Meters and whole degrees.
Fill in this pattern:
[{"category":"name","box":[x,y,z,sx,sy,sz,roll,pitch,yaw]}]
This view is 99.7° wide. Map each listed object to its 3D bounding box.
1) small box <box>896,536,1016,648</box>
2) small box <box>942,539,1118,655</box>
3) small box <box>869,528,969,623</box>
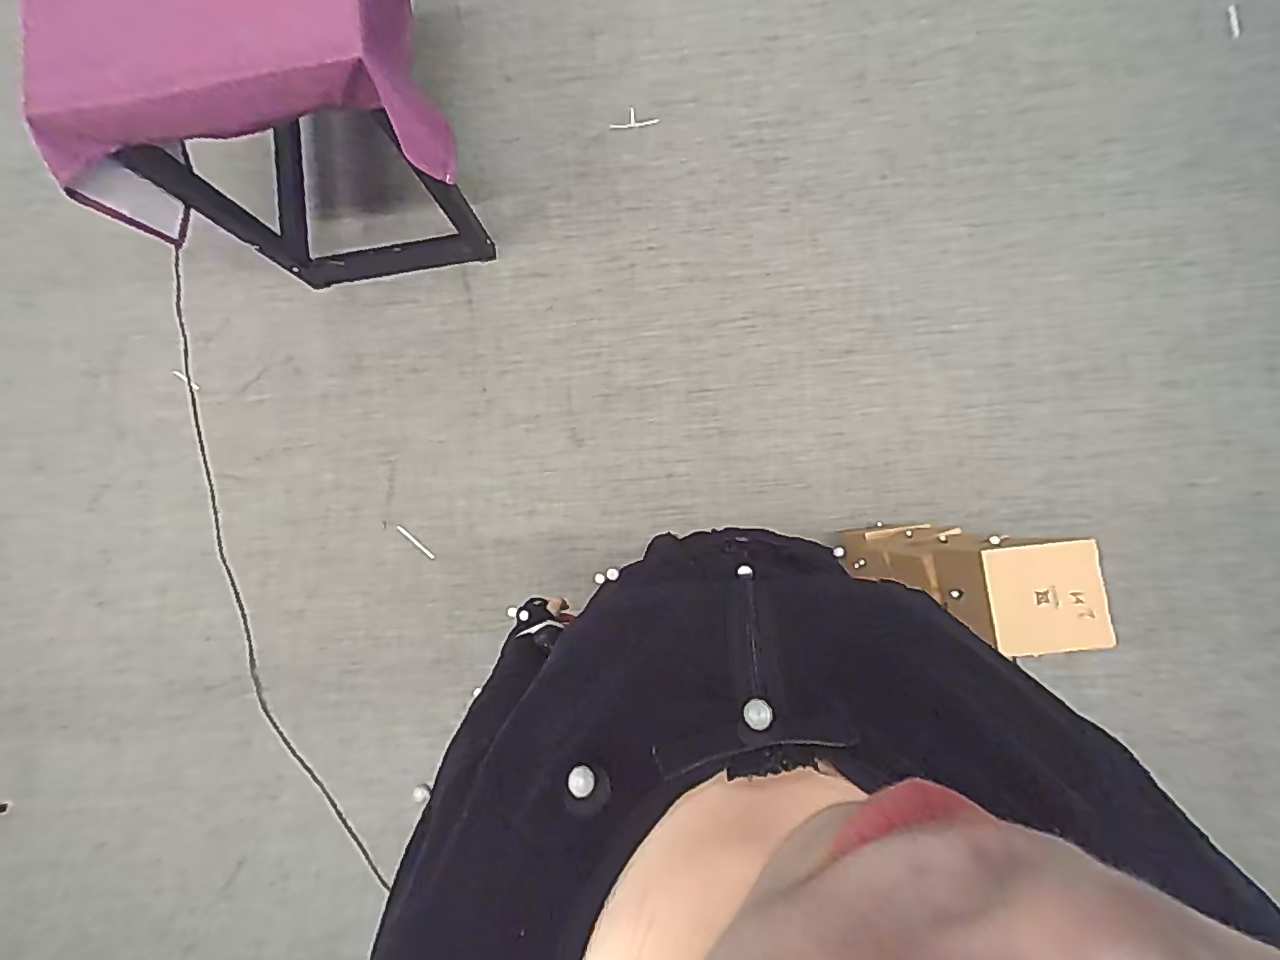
[{"category":"small box","box":[0.636,0.212,1.066,0.168,0.176,0.179,-14,83,3]},{"category":"small box","box":[0.631,0.188,0.903,0.179,0.176,0.168,-6,84,4]},{"category":"small box","box":[0.644,0.212,1.230,0.179,0.176,0.168,-17,84,2]}]
